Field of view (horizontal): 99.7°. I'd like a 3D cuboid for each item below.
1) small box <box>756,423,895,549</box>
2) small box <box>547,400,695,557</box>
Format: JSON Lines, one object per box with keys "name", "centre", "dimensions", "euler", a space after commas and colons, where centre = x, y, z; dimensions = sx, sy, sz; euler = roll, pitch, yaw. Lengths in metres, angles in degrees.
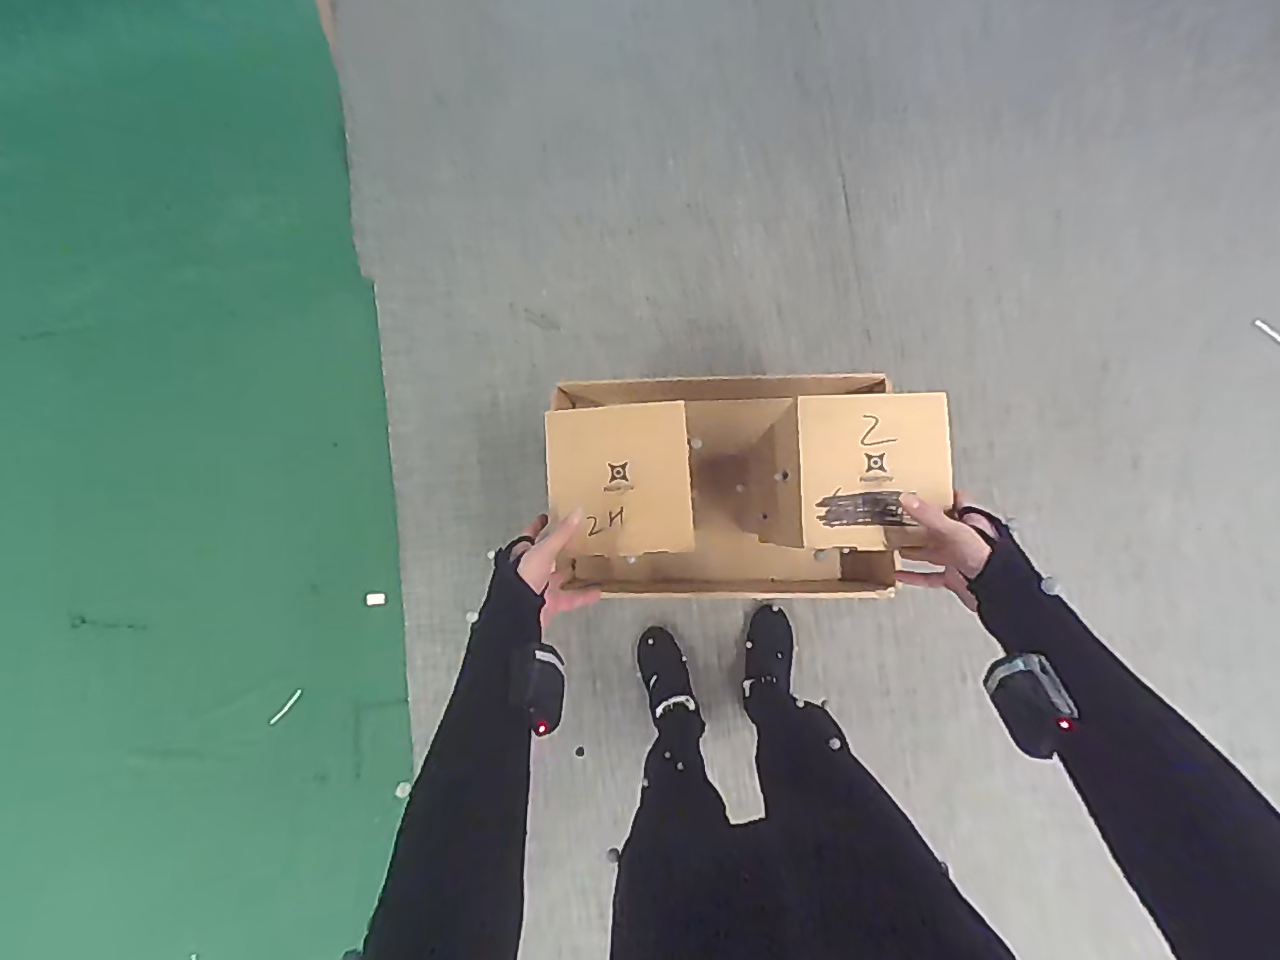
{"name": "small box", "centre": [0.274, 0.014, 0.829], "dimensions": [0.168, 0.176, 0.179], "euler": [-1, 84, 4]}
{"name": "small box", "centre": [-0.019, 0.006, 0.689], "dimensions": [0.168, 0.176, 0.179], "euler": [-3, 85, 4]}
